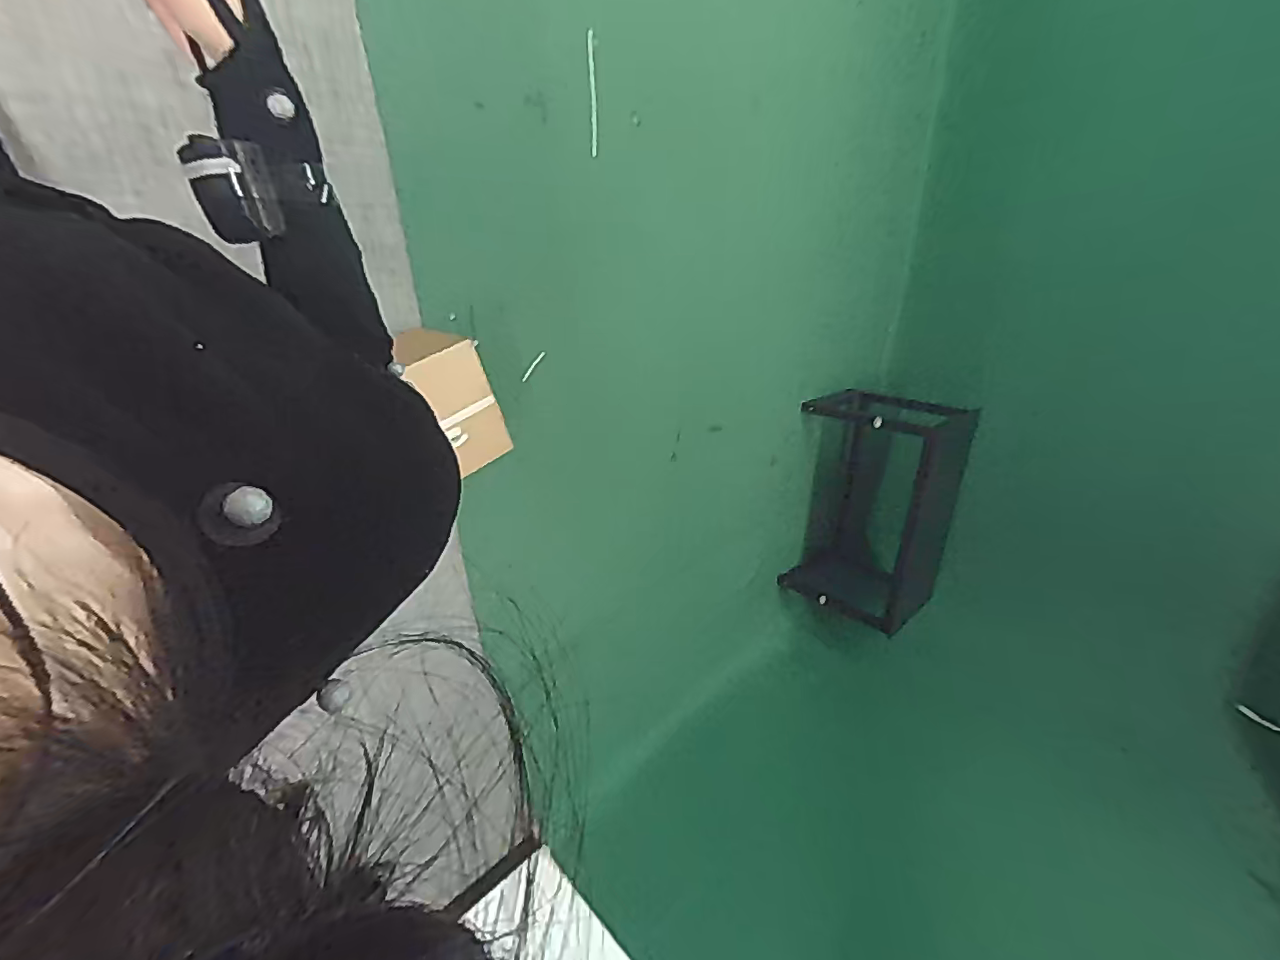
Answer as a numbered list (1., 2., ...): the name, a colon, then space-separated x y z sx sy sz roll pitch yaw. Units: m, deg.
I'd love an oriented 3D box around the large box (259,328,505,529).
1. large box: -0.625 -0.150 1.346 0.408 0.320 0.320 -37 131 -31
